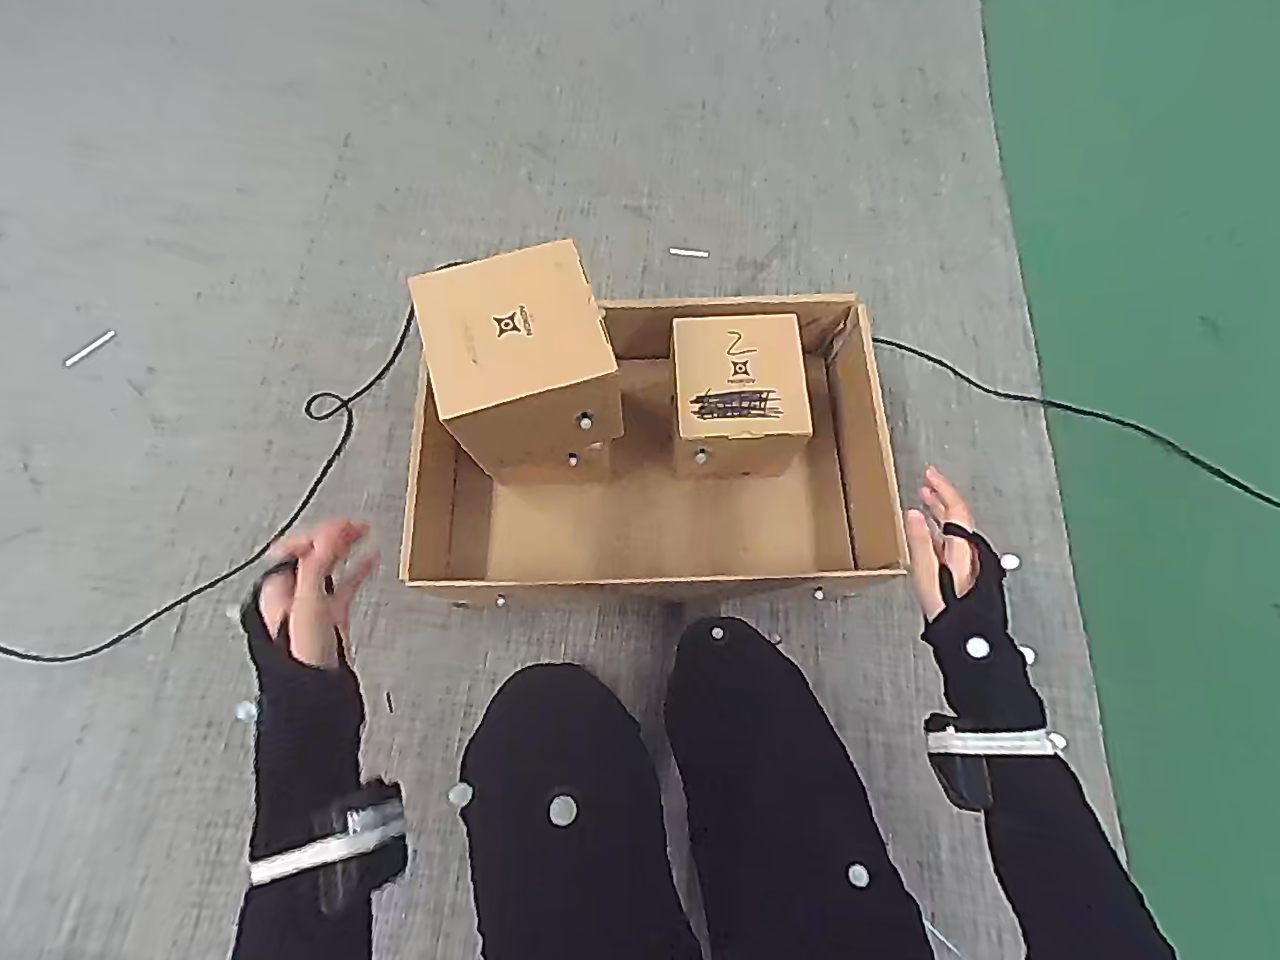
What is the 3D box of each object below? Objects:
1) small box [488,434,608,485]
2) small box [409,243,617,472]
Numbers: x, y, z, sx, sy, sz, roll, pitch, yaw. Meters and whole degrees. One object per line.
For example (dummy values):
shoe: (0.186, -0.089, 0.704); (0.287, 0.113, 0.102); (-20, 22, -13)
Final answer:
small box: (-0.136, -0.093, 0.767); (0.179, 0.176, 0.168); (0, 73, -1)
small box: (-0.129, -0.125, 0.607); (0.179, 0.176, 0.168); (-17, 74, -4)
